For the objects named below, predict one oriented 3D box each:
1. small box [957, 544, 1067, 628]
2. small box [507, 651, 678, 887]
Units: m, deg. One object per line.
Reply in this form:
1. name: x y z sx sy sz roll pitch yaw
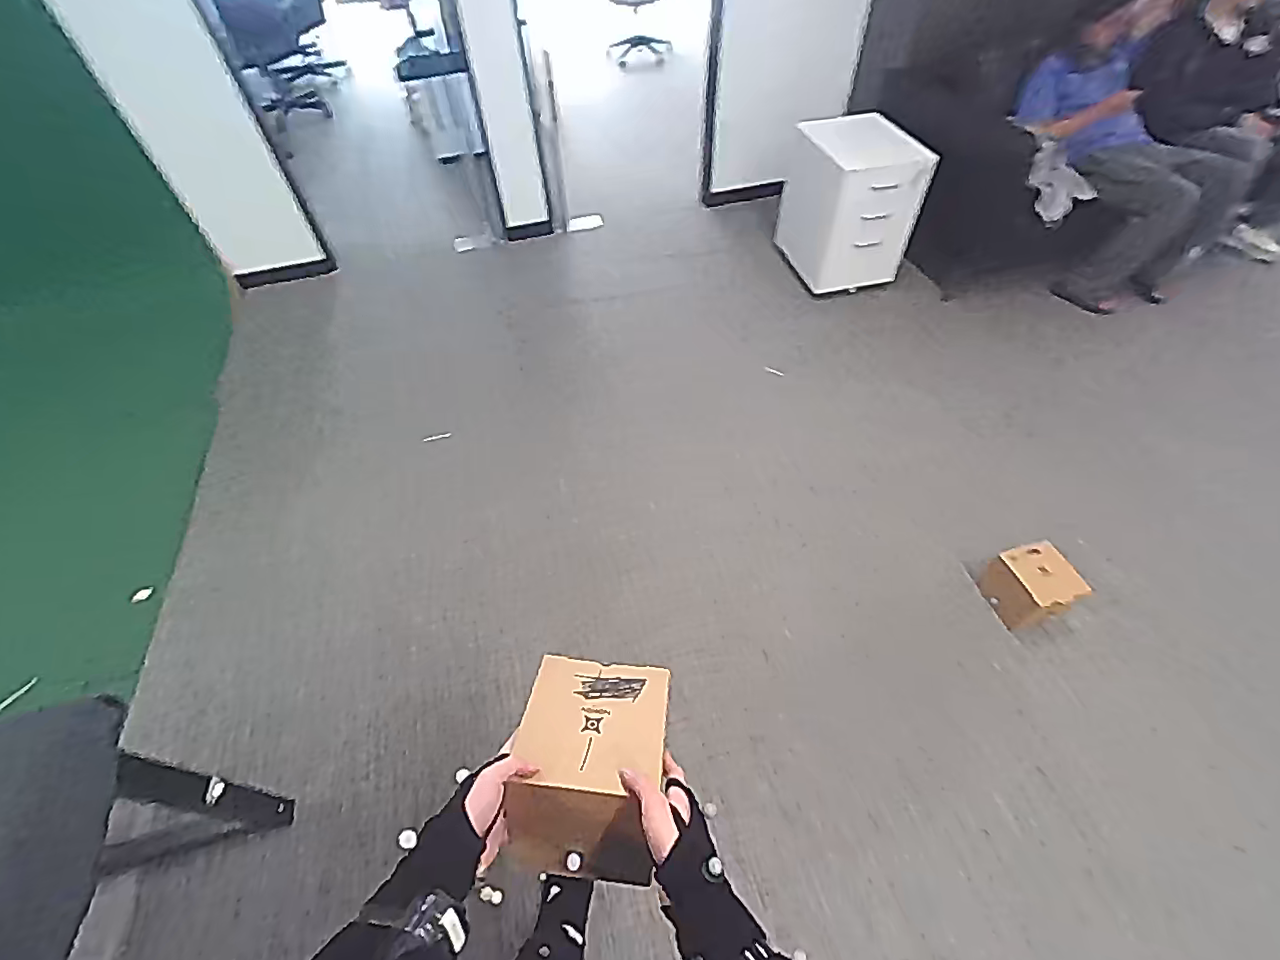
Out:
1. small box: 1.100 0.325 1.616 0.168 0.176 0.179 -14 53 -10
2. small box: -0.051 0.343 0.659 0.168 0.176 0.179 7 28 7
